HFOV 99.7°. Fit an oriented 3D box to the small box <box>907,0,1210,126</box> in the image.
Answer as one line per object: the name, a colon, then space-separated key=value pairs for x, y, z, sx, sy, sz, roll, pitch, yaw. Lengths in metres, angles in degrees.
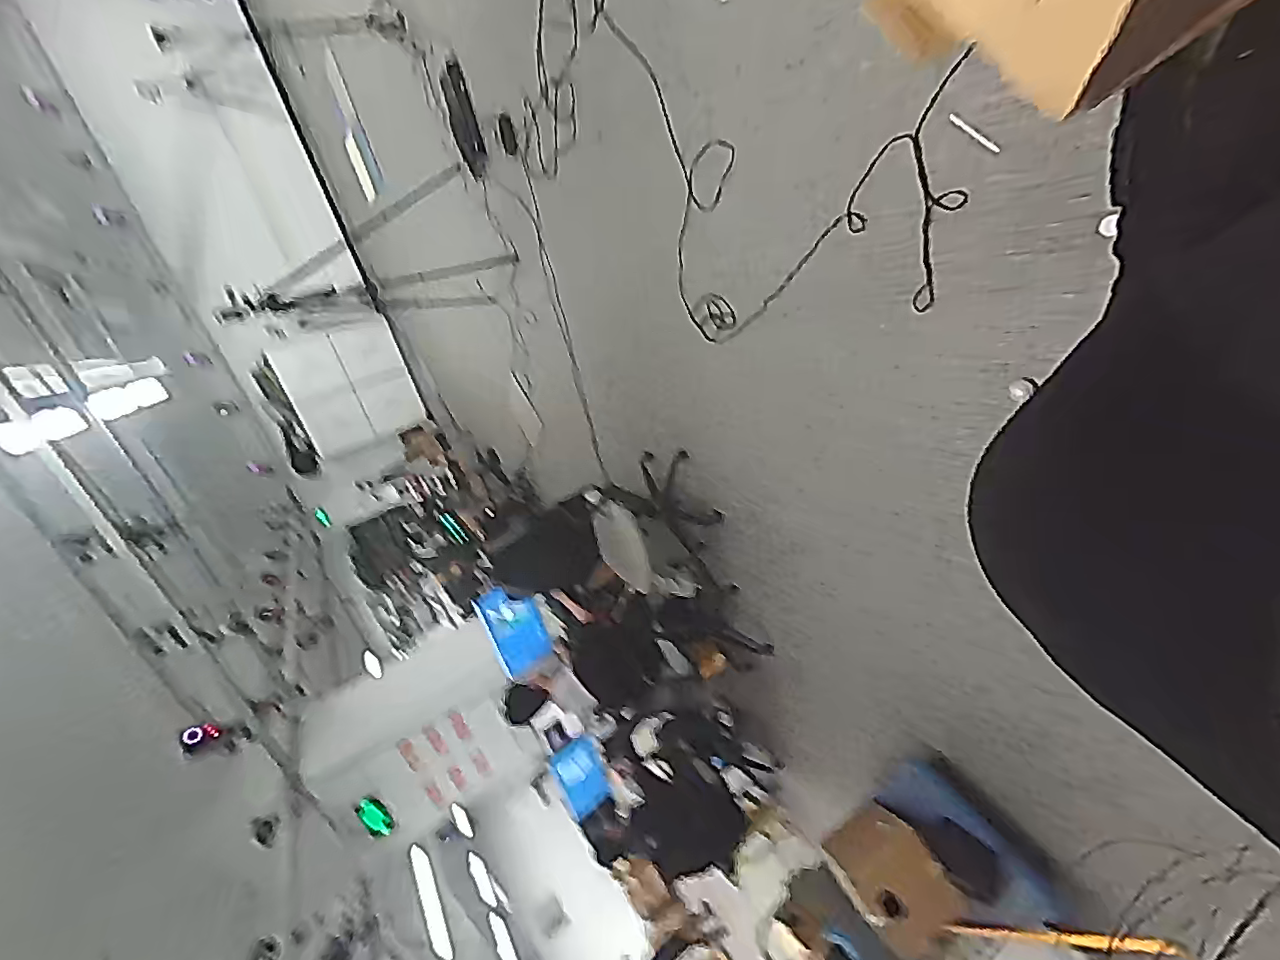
small box: x=0.161 y=-0.257 z=0.138 sx=0.168 sy=0.176 sz=0.179 roll=59 pitch=-172 yaw=17
